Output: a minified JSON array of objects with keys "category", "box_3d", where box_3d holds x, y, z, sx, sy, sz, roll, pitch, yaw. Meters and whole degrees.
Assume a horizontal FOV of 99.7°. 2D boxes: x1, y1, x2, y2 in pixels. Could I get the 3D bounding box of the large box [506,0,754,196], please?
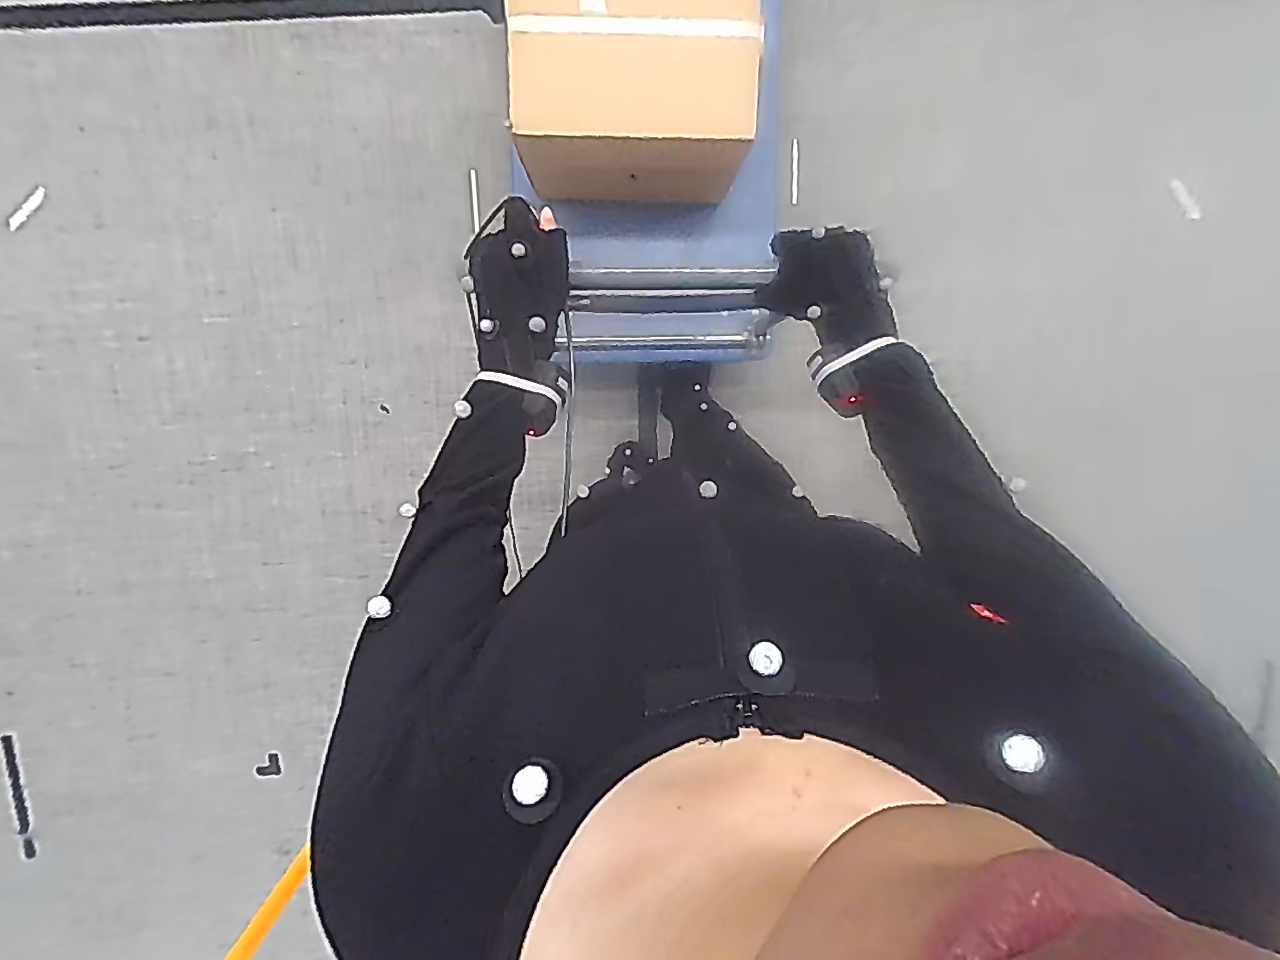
[{"category":"large box","box_3d":[-0.017,-0.744,1.012,0.408,0.320,0.320,0,100,-1]}]
